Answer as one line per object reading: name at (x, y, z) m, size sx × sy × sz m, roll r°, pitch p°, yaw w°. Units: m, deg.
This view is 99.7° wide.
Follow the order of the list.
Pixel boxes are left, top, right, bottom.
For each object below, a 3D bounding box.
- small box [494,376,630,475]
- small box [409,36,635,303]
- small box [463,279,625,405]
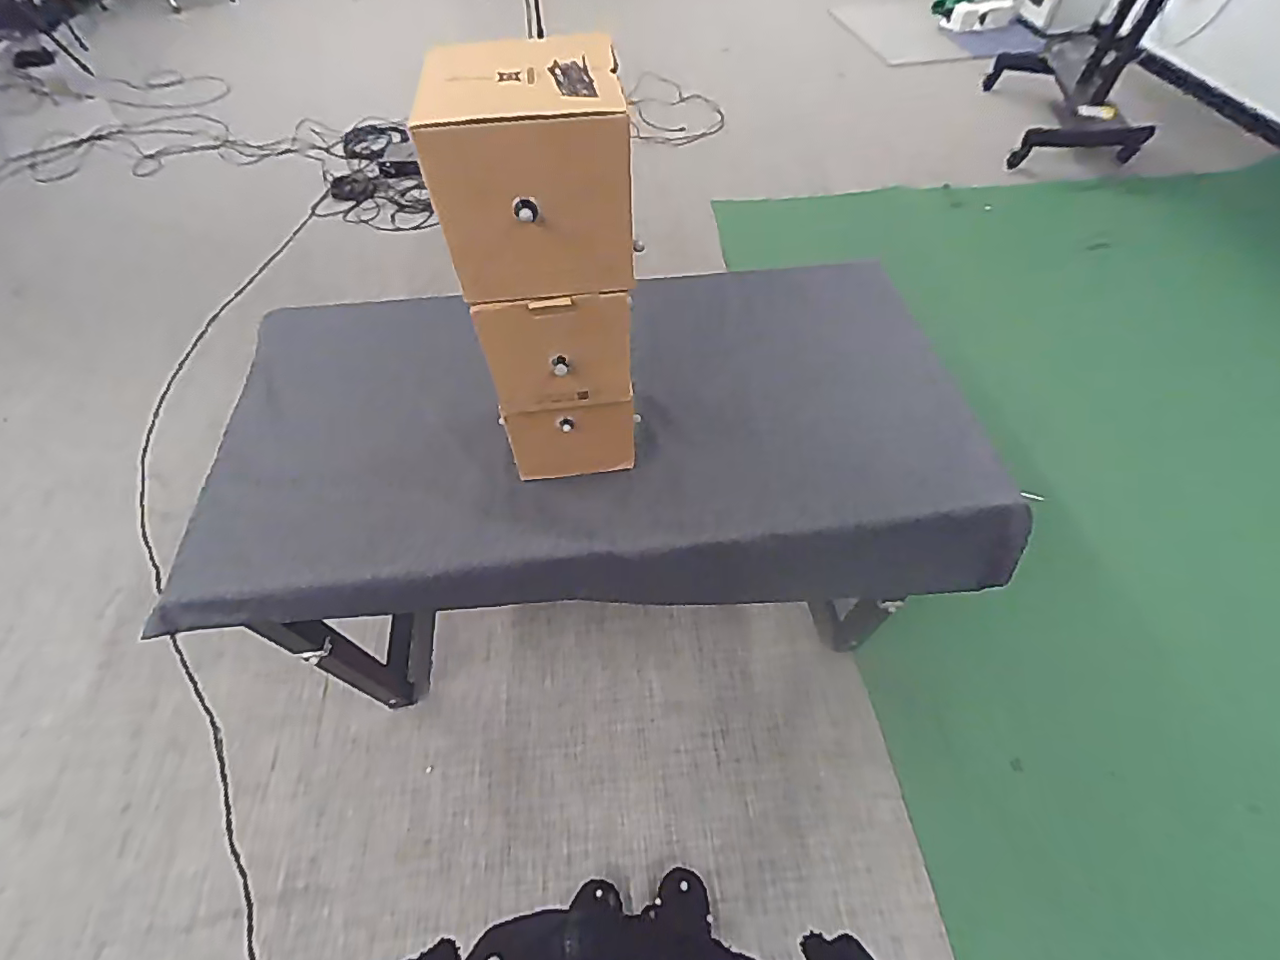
small box at (-0.111, -0.120, 0.804) m, size 0.179 × 0.176 × 0.168 m, roll -6°, pitch 57°, yaw -5°
small box at (-0.105, -0.296, 0.527) m, size 0.179 × 0.176 × 0.168 m, roll -8°, pitch 57°, yaw -6°
small box at (-0.110, -0.207, 0.665) m, size 0.168 × 0.176 × 0.179 m, roll -7°, pitch 57°, yaw -4°
